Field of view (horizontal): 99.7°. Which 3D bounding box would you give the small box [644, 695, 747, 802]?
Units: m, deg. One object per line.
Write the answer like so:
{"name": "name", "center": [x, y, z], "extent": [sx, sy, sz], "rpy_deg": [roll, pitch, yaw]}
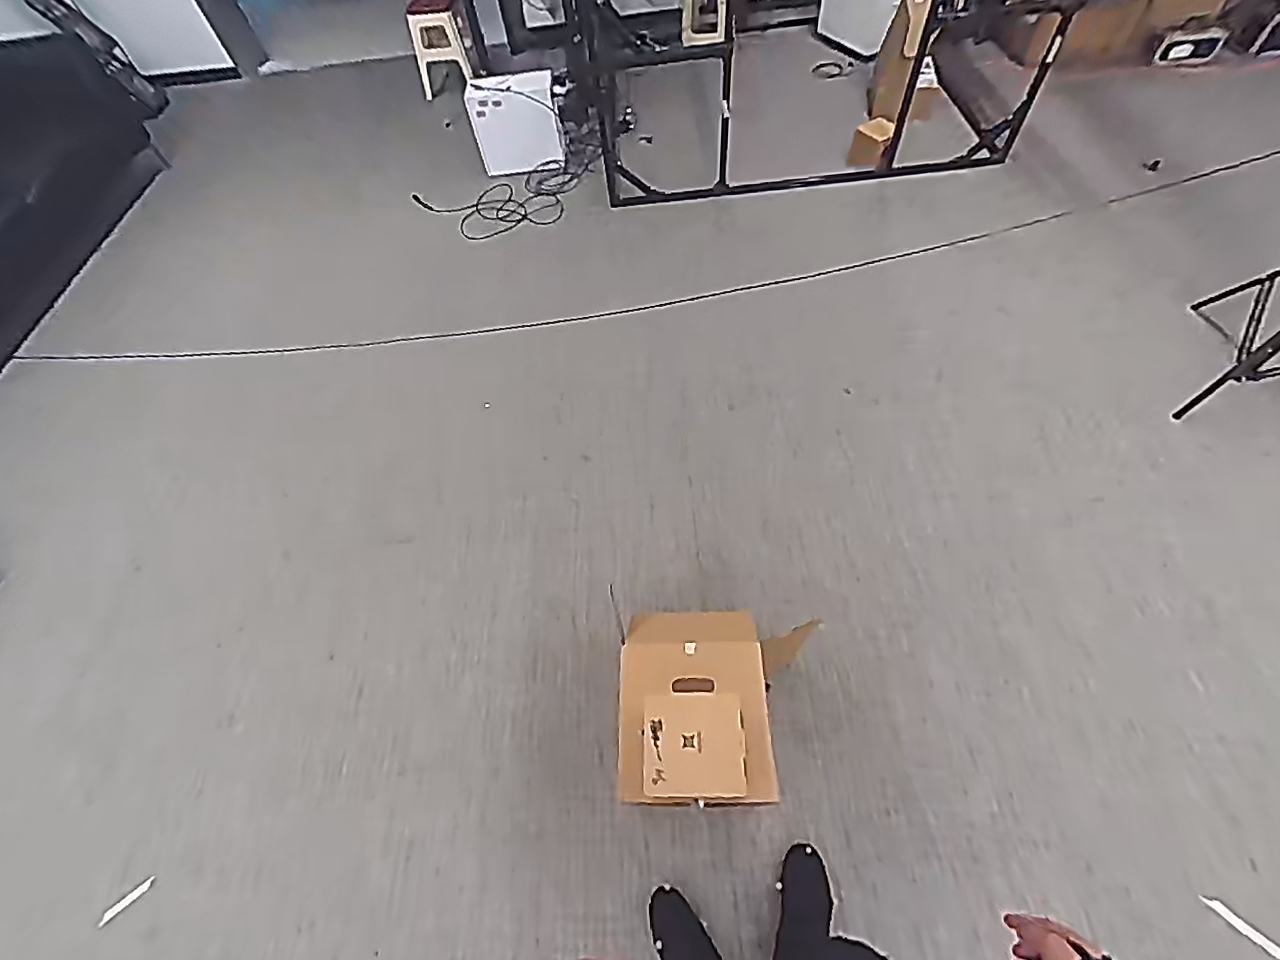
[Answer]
{"name": "small box", "center": [0.101, 0.508, 1.019], "extent": [0.179, 0.176, 0.168], "rpy_deg": [-1, 59, 5]}
